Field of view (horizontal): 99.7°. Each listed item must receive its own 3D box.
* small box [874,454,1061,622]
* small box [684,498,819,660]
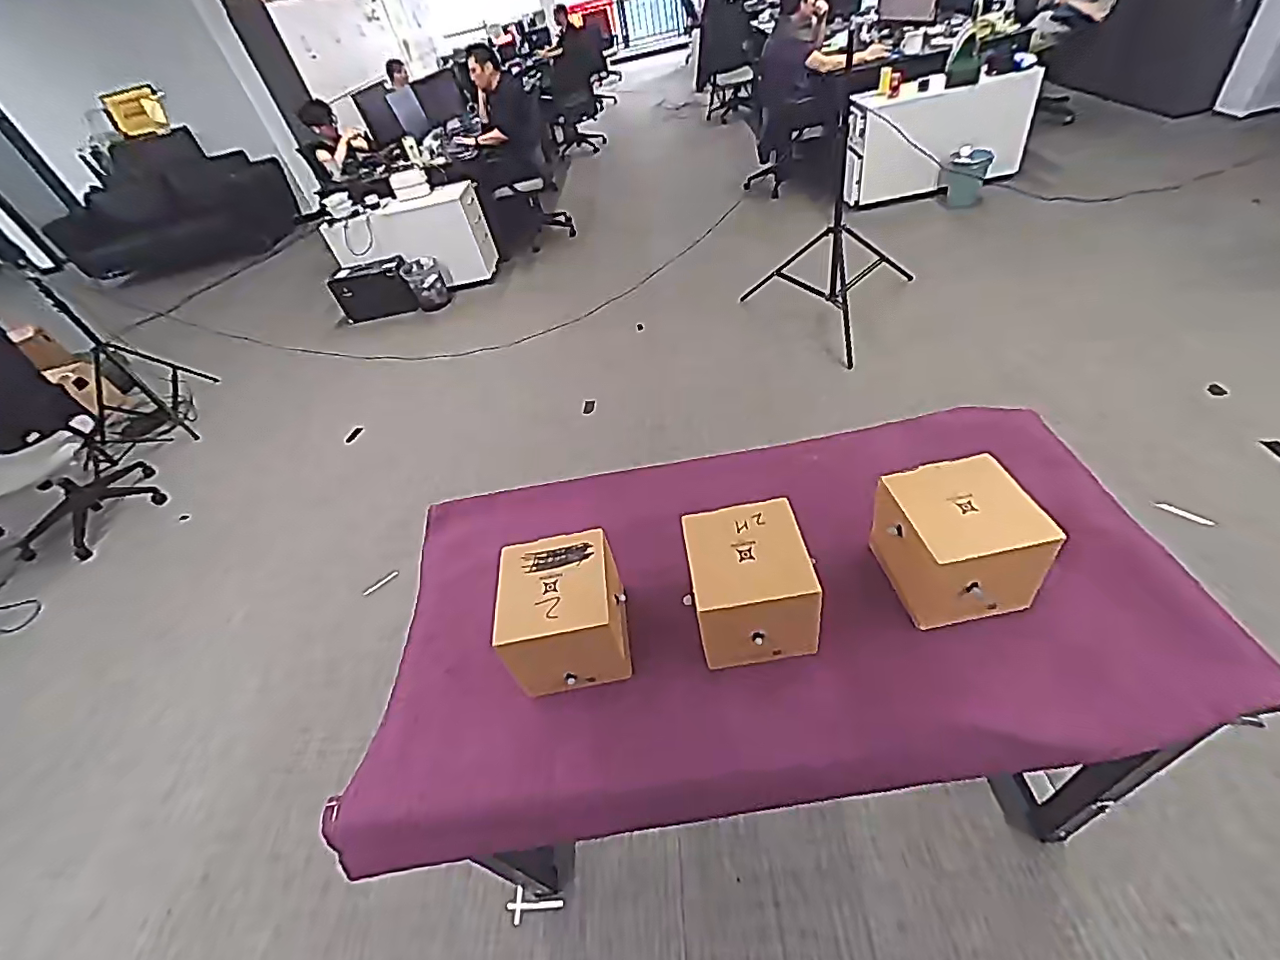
[{"bbox_3d":[0.469,0.094,0.809,0.168,0.176,0.179,-13,41,3],"label":"small box"},{"bbox_3d":[0.167,0.157,0.826,0.168,0.176,0.179,-10,43,4],"label":"small box"}]
